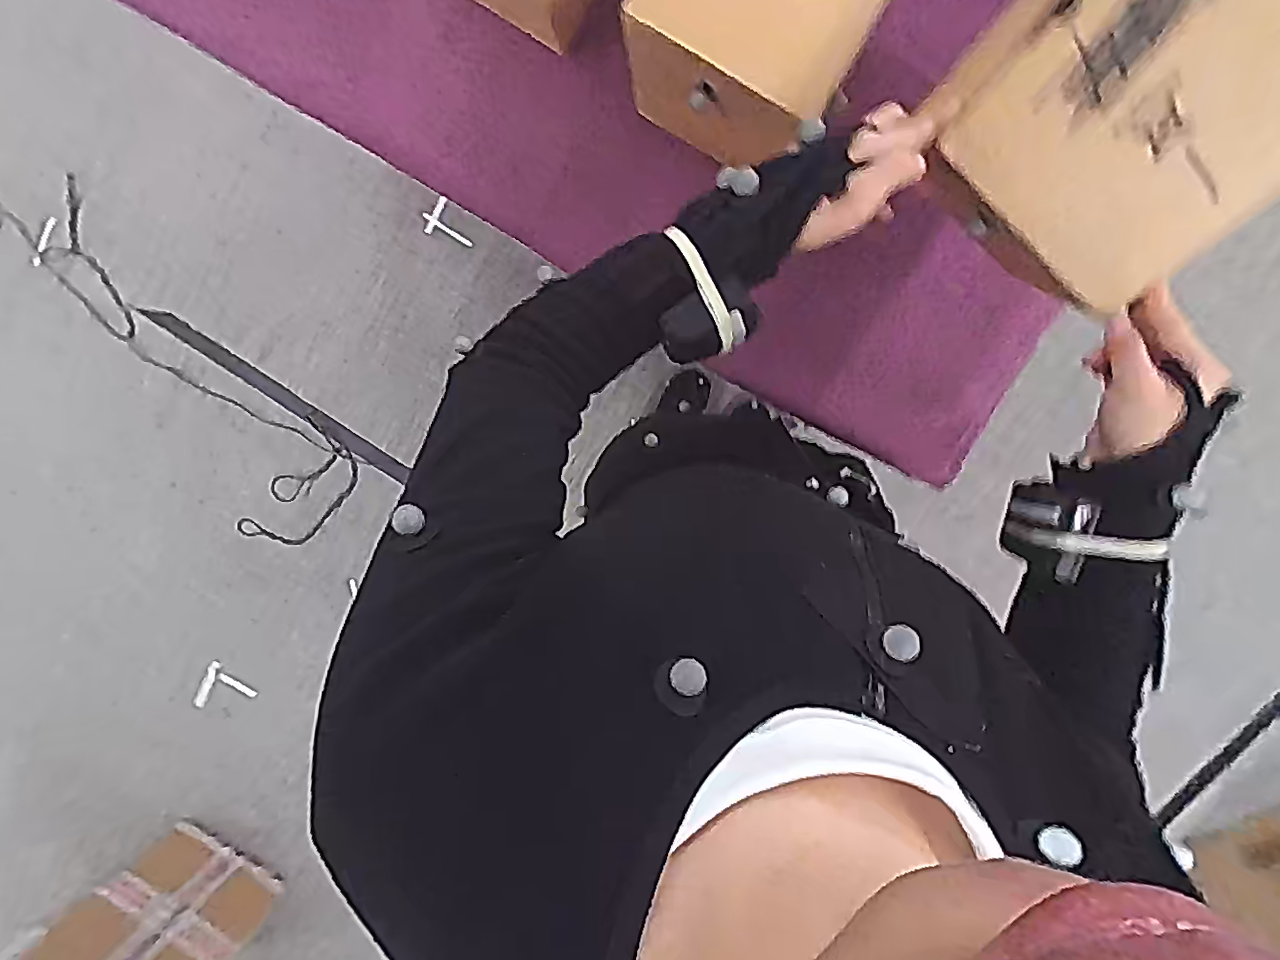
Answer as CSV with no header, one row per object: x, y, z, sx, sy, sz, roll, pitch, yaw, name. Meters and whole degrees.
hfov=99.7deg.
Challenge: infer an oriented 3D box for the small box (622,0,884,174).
0.106,-0.408,0.483,0.179,0.176,0.168,30,102,-1,small box
